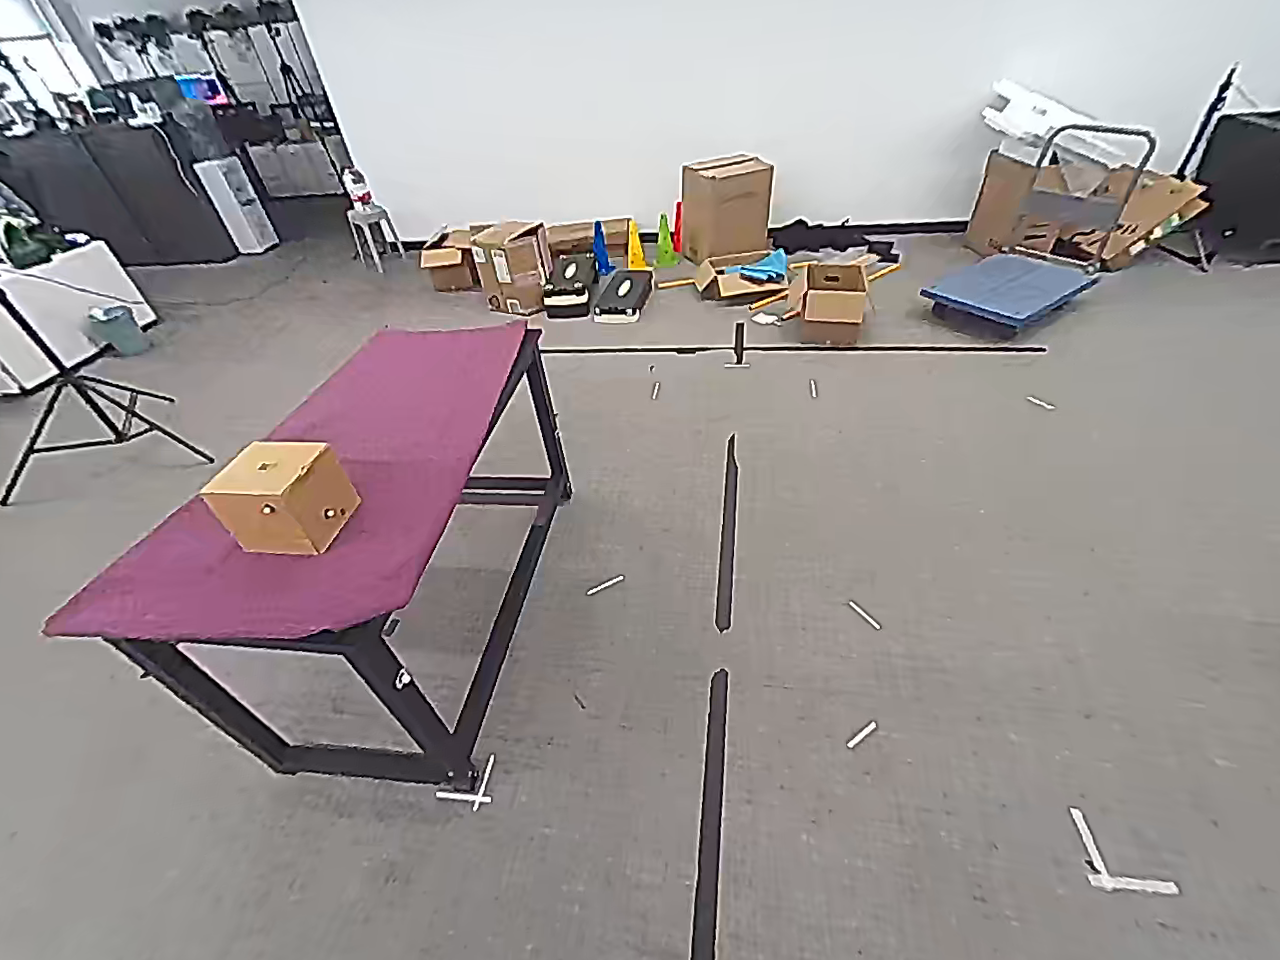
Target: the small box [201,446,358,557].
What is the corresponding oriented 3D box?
[{"bbox_3d":[-0.730,0.045,1.117,0.179,0.176,0.168,1,40,7],"label":"small box"}]
